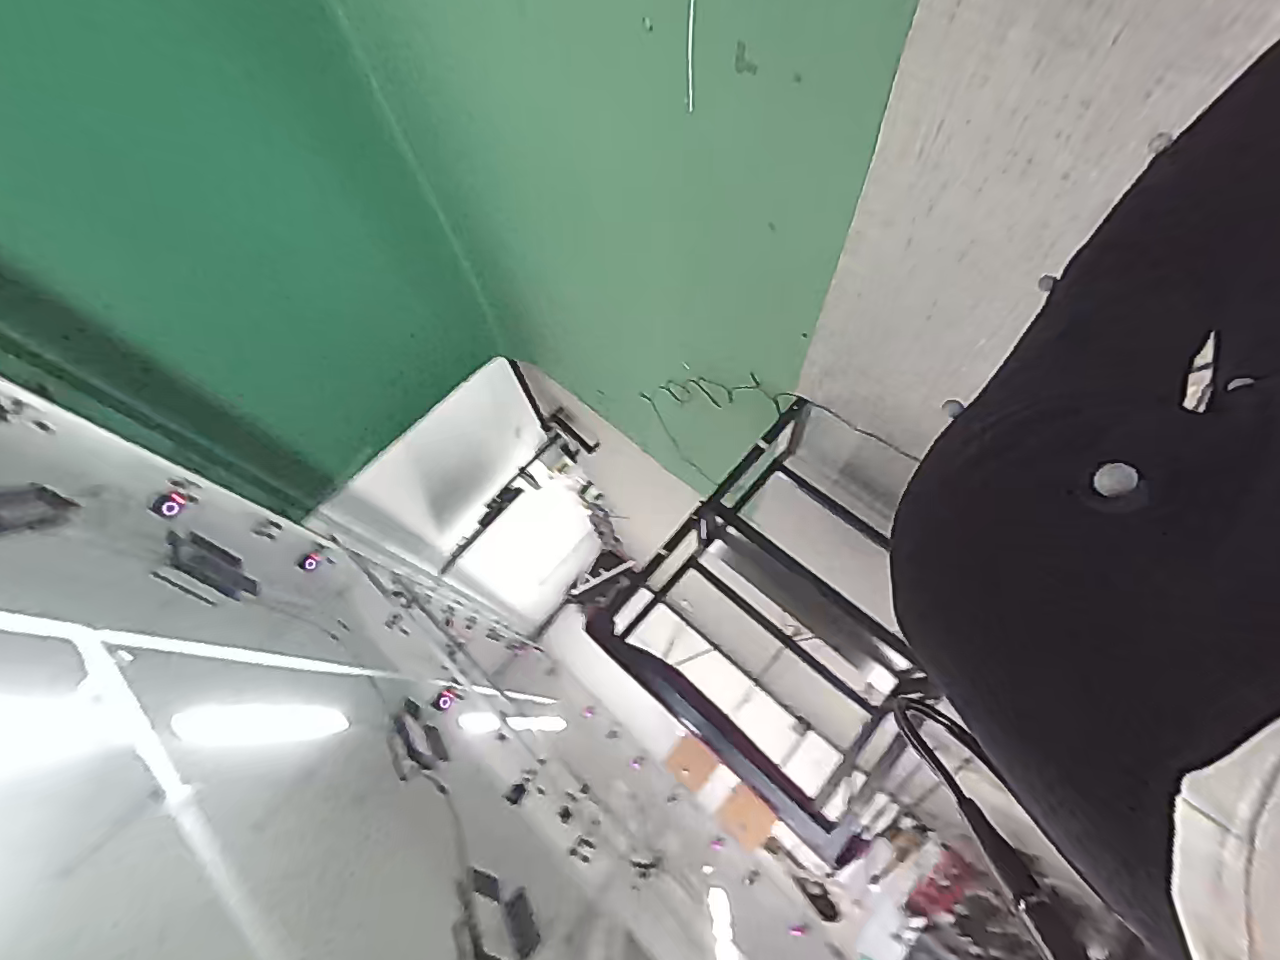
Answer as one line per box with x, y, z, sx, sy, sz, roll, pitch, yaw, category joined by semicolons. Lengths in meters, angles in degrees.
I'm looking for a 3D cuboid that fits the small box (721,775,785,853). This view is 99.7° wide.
0.426;1.256;2.043;0.179;0.176;0.168;39;164;23;small box

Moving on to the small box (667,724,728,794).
0.231;1.093;2.130;0.179;0.176;0.168;39;166;20;small box
